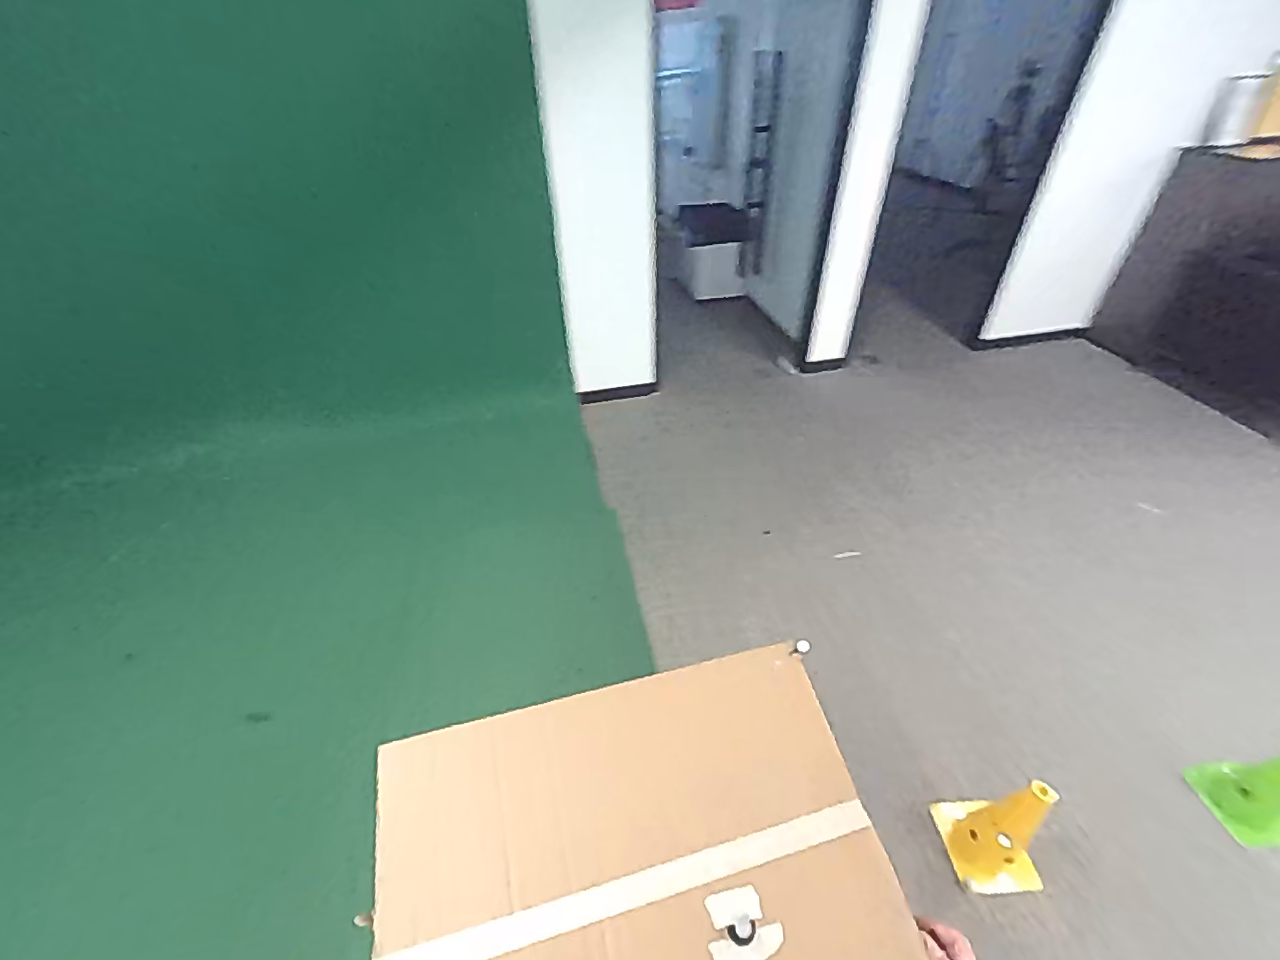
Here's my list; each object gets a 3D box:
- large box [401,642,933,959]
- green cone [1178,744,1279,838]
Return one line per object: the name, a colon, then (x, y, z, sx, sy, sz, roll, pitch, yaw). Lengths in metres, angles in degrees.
large box: (0.002, 0.412, 0.569, 0.408, 0.320, 0.320, -10, 57, -11)
green cone: (1.632, 0.727, 1.374, 0.202, 0.368, 0.200, -6, 40, -3)
